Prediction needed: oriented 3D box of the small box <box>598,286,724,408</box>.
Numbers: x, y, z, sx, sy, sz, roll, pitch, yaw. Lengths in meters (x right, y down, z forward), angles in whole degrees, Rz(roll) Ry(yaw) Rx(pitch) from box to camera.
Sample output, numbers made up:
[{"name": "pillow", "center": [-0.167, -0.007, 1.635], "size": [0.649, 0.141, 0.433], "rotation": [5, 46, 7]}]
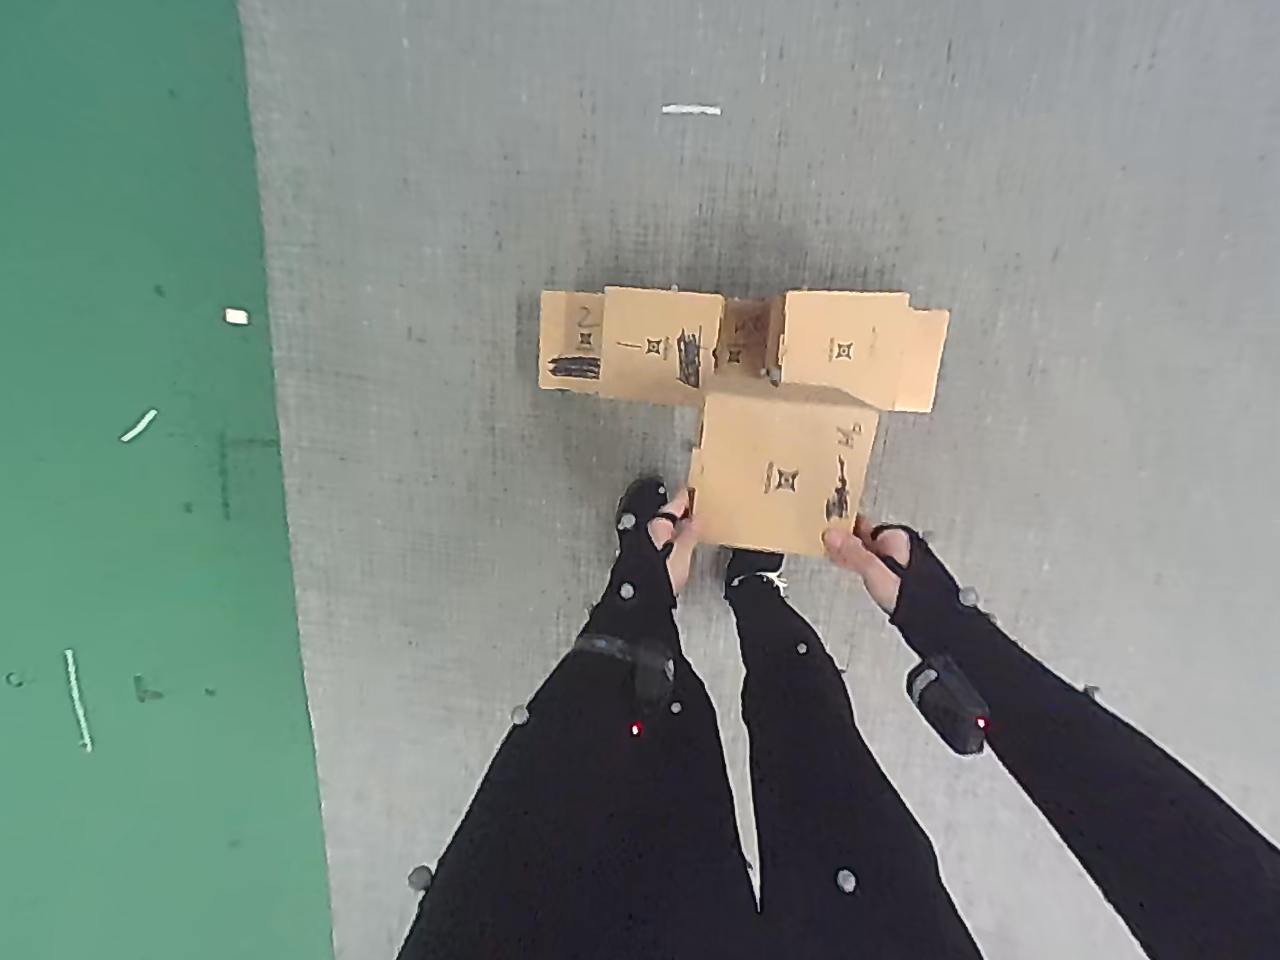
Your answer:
[{"name": "small box", "center": [0.035, -0.215, 0.879], "size": [0.179, 0.176, 0.168], "rotation": [6, 103, 4]}]

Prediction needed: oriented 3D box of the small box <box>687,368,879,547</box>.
[{"name": "small box", "center": [0.153, -0.038, 0.642], "size": [0.179, 0.176, 0.168], "rotation": [7, 108, 4]}]

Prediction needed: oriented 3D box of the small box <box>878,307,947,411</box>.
[{"name": "small box", "center": [0.441, -0.231, 1.015], "size": [0.168, 0.176, 0.179], "rotation": [4, 103, 4]}]

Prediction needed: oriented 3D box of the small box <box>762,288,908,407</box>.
[{"name": "small box", "center": [0.294, -0.208, 0.862], "size": [0.179, 0.176, 0.168], "rotation": [2, 104, 2]}]
